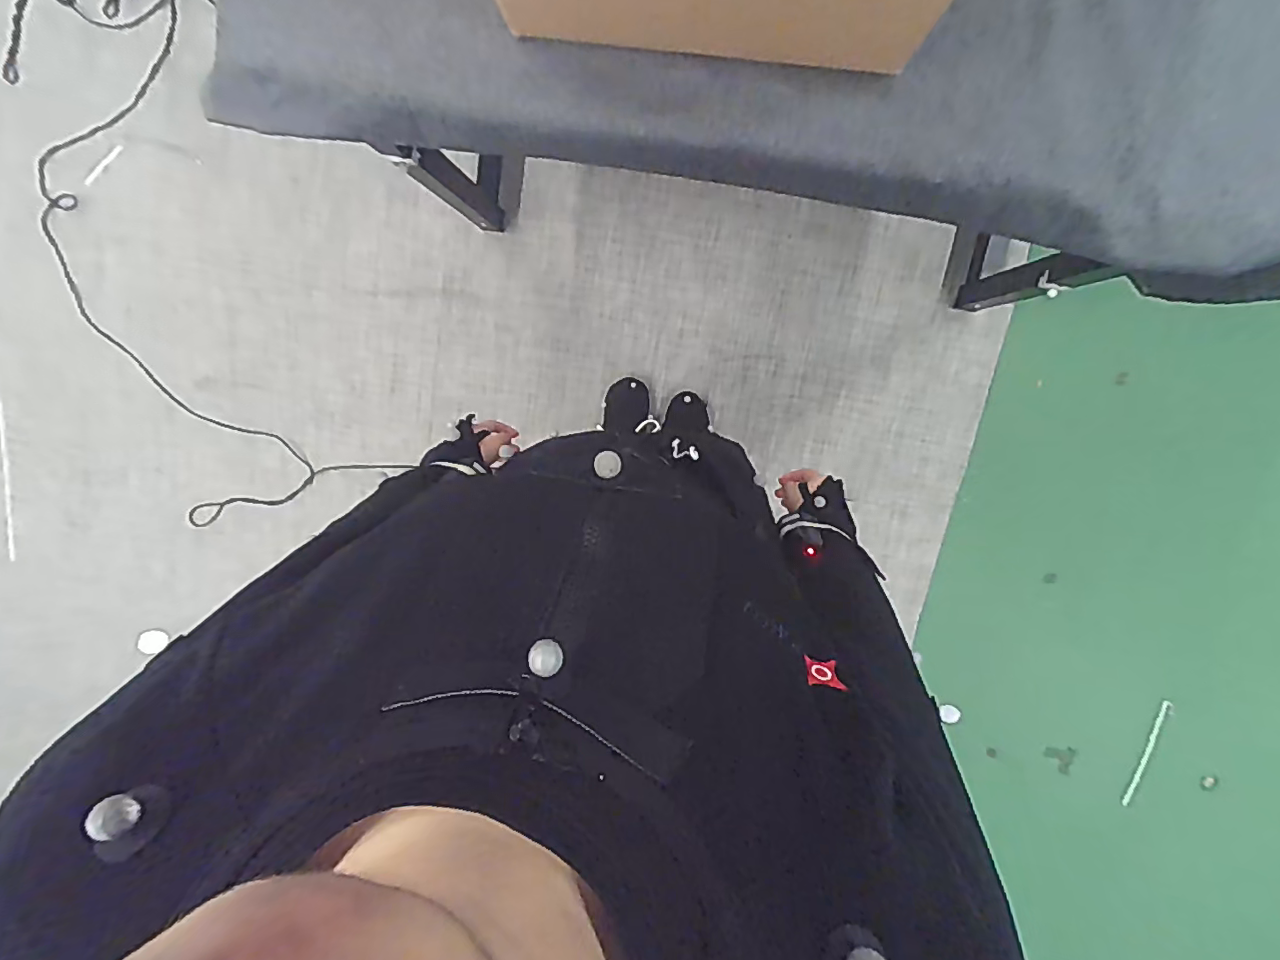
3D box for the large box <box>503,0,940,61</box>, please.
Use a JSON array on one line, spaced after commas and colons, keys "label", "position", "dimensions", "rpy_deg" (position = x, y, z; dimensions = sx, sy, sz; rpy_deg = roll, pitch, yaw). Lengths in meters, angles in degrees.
[{"label": "large box", "position": [0.074, -0.563, 0.380], "dimensions": [0.408, 0.320, 0.320], "rpy_deg": [7, 101, 1]}]
